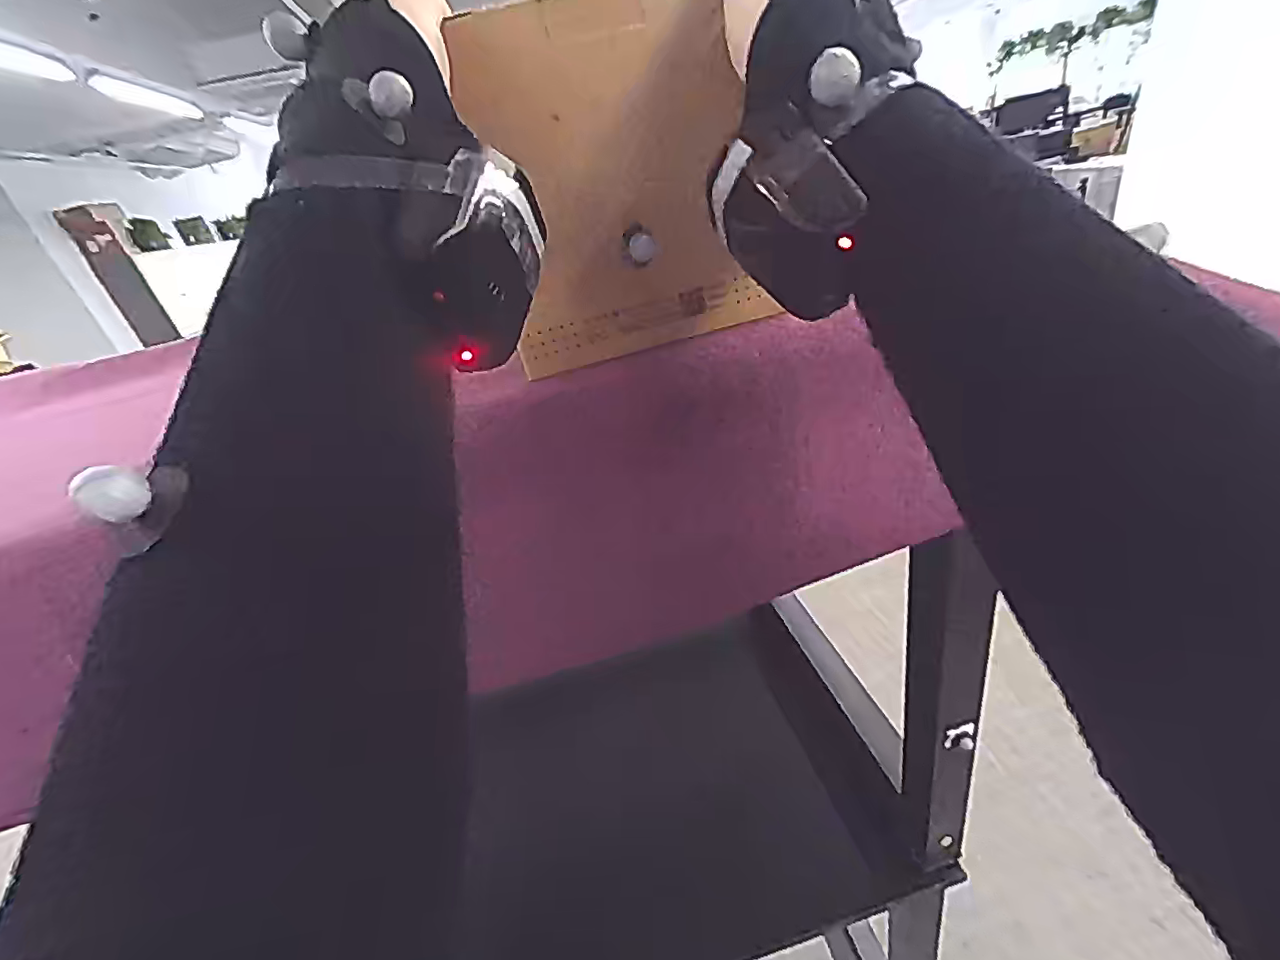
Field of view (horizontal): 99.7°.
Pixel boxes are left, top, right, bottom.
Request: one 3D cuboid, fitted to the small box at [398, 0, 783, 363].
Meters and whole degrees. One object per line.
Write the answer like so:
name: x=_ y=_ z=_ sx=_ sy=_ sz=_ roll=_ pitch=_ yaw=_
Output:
small box: x=-0.021 y=-0.188 z=0.345 sx=0.168 sy=0.176 sz=0.179 roll=-16 pitch=29 yaw=-1
